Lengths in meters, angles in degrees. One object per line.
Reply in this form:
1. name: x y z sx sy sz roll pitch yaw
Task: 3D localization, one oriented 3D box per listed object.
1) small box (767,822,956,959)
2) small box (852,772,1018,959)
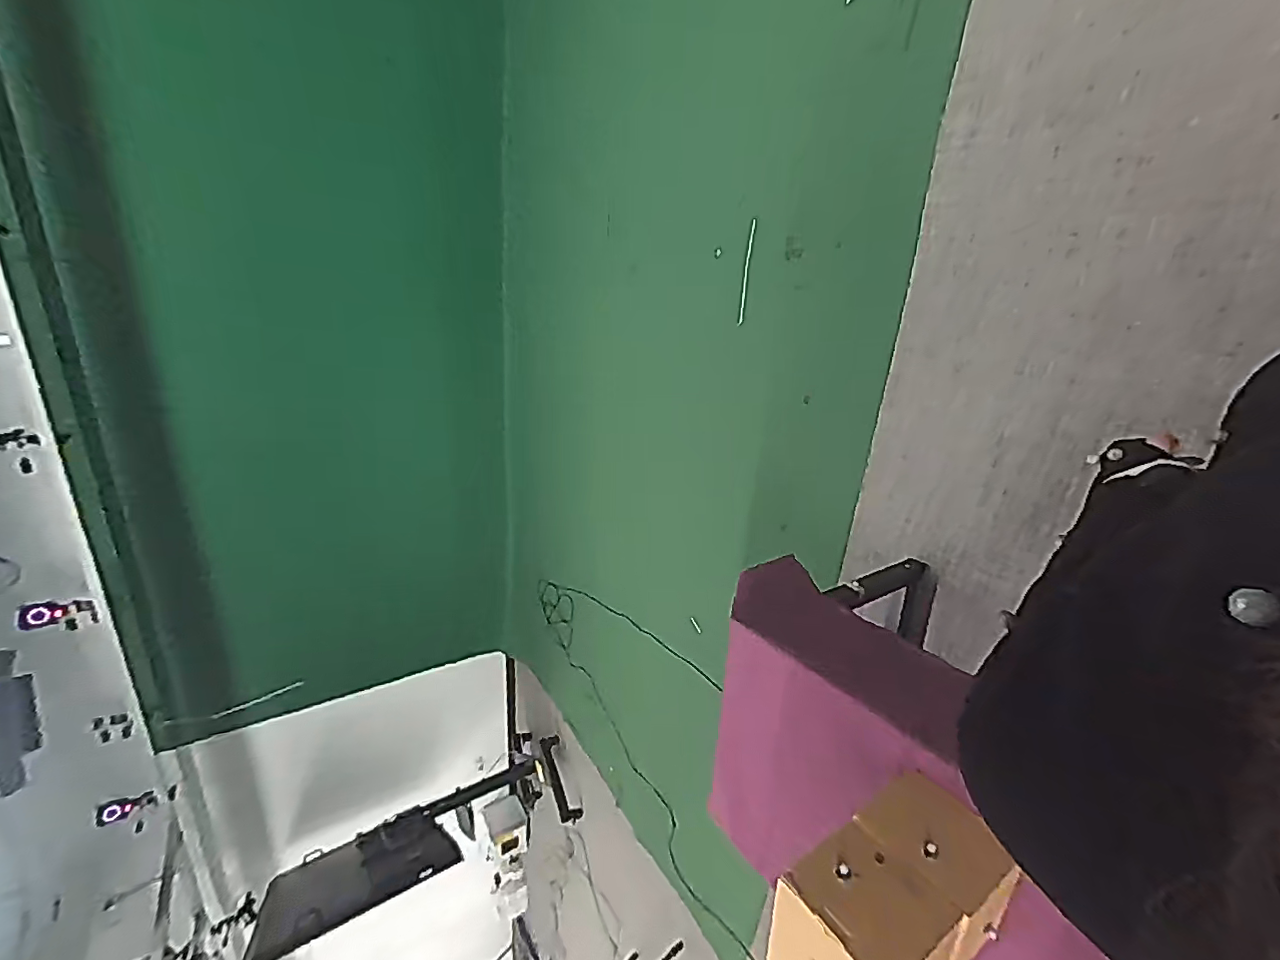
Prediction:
1. small box: 0.300 0.622 0.740 0.168 0.176 0.179 26 120 52
2. small box: 0.435 0.594 0.827 0.179 0.176 0.168 29 121 50
